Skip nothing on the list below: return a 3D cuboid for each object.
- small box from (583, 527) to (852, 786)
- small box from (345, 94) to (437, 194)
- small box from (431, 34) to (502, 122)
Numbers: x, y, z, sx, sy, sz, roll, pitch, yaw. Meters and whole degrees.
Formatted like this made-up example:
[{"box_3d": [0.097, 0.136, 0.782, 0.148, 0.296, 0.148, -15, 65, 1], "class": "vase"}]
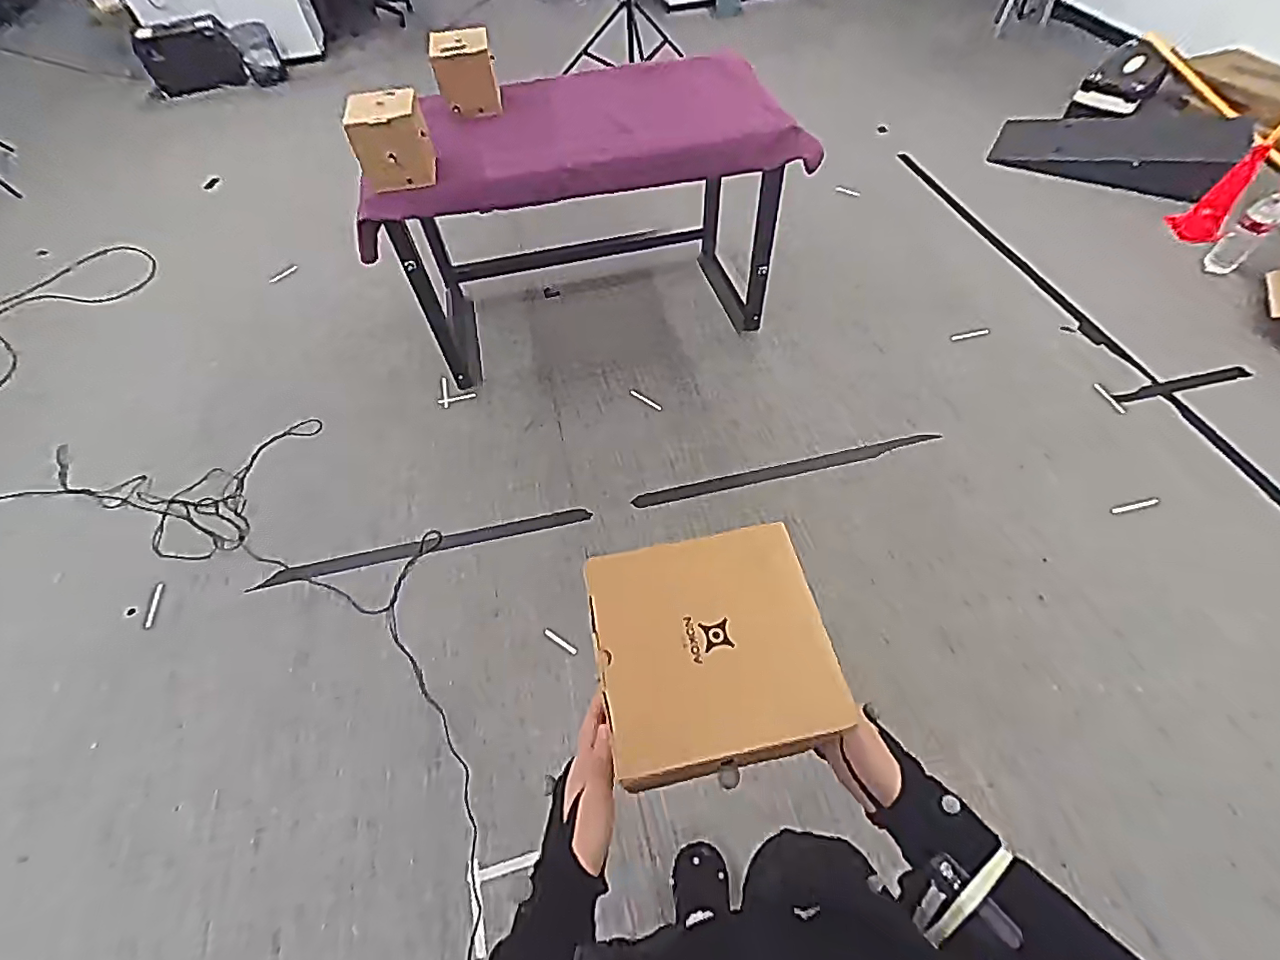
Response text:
[{"box_3d": [0.055, 0.164, 0.485, 0.179, 0.176, 0.168, -12, 59, -3], "class": "small box"}, {"box_3d": [-0.641, -0.870, 1.413, 0.168, 0.176, 0.179, -11, 56, -5], "class": "small box"}, {"box_3d": [-0.521, -1.209, 1.637, 0.168, 0.176, 0.179, -10, 57, -4], "class": "small box"}]
